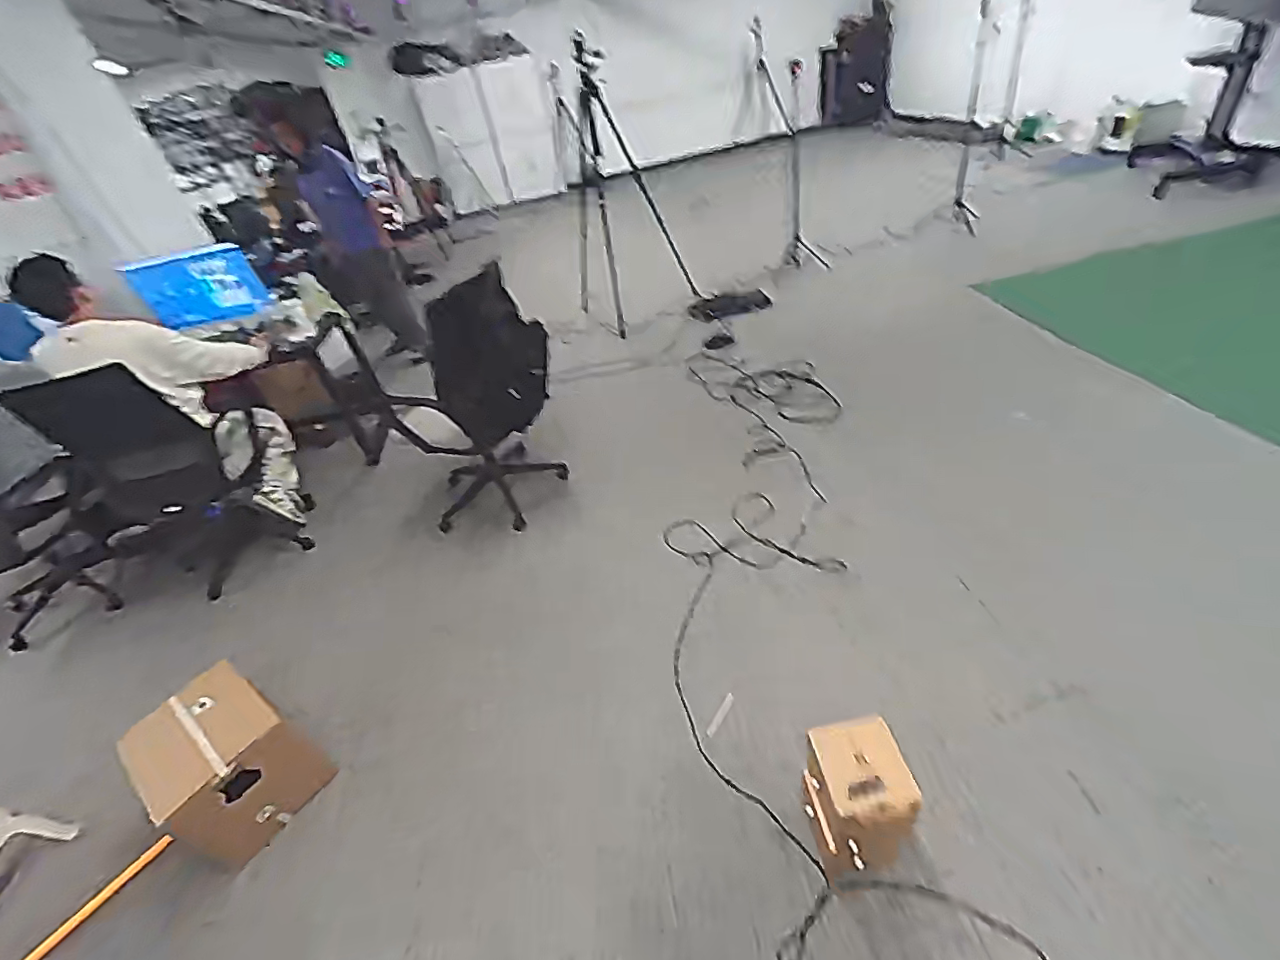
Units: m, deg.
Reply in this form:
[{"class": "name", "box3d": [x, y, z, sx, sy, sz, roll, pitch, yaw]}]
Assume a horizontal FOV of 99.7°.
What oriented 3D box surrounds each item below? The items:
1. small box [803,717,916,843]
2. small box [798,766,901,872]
[{"class": "small box", "box3d": [0.455, 0.637, 1.141, 0.168, 0.176, 0.179, -12, 36, 1]}, {"class": "small box", "box3d": [0.473, 0.768, 1.239, 0.168, 0.176, 0.179, -12, 36, 1]}]
